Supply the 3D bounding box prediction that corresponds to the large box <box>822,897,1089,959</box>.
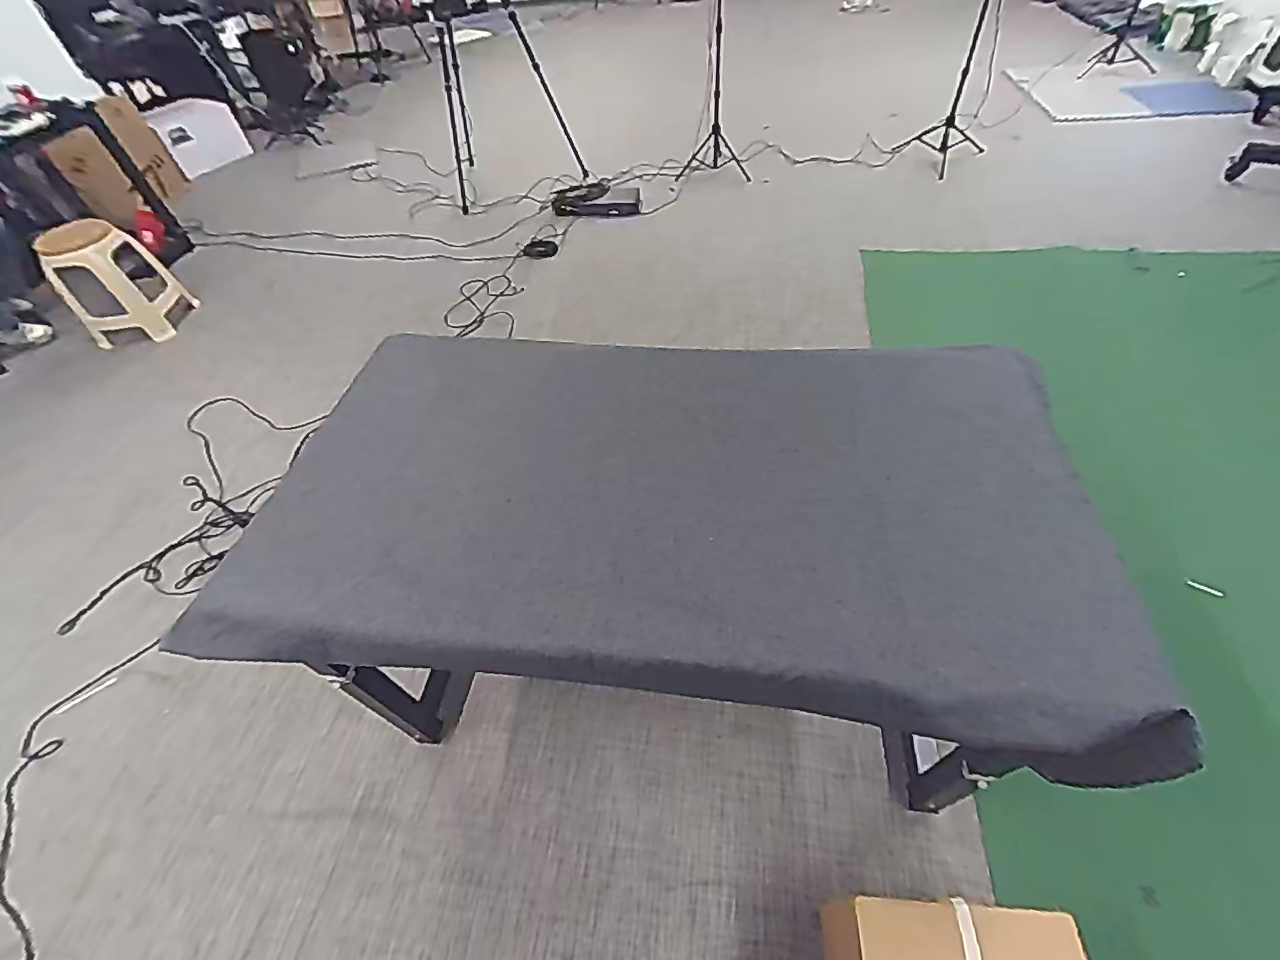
[{"bbox_3d":[0.480,0.876,0.795,0.320,0.320,0.408,0,51,6],"label":"large box"}]
